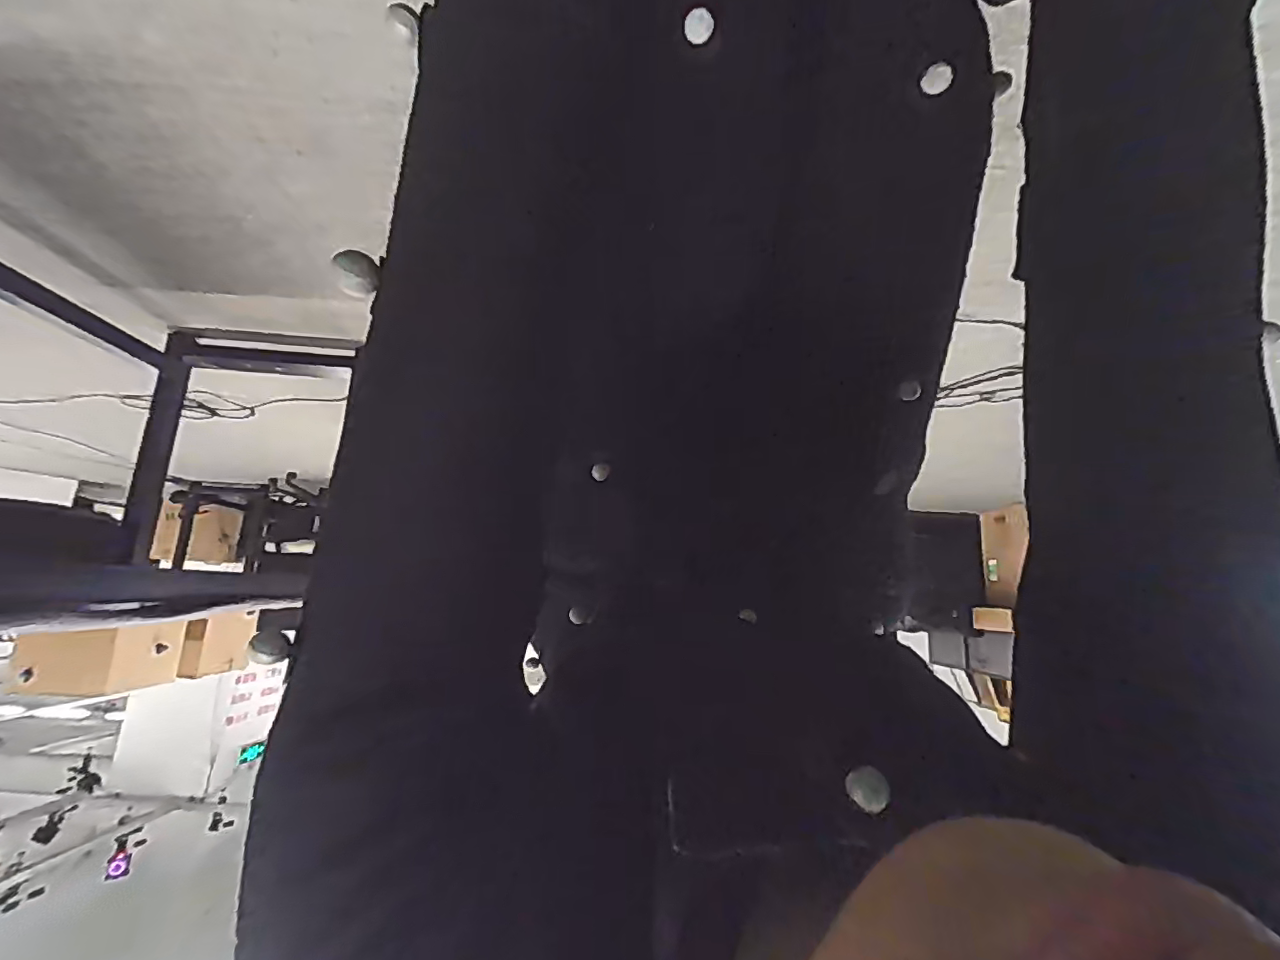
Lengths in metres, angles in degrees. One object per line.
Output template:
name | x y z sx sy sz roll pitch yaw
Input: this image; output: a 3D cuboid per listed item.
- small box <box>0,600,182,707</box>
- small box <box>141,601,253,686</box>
small box | -1.023 0.323 1.029 0.179 0.176 0.168 4 168 -2
small box | -1.042 0.375 1.259 0.179 0.176 0.168 4 167 1
